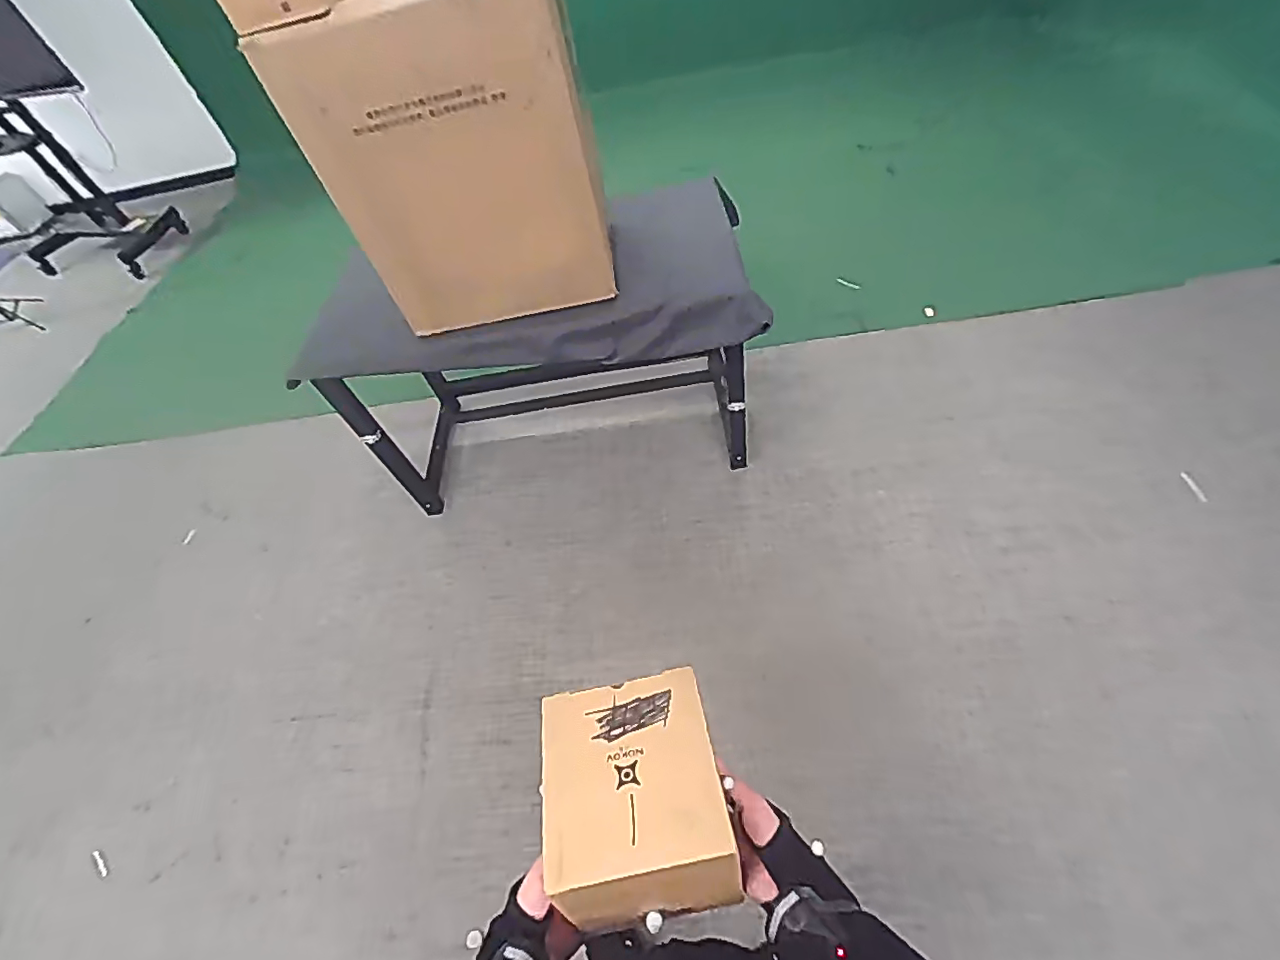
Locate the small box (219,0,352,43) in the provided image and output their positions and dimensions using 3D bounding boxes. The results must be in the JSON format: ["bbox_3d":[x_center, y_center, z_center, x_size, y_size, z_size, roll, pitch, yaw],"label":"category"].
[{"bbox_3d":[-0.624,-0.874,0.915,0.168,0.176,0.179,-9,52,6],"label":"small box"}]
